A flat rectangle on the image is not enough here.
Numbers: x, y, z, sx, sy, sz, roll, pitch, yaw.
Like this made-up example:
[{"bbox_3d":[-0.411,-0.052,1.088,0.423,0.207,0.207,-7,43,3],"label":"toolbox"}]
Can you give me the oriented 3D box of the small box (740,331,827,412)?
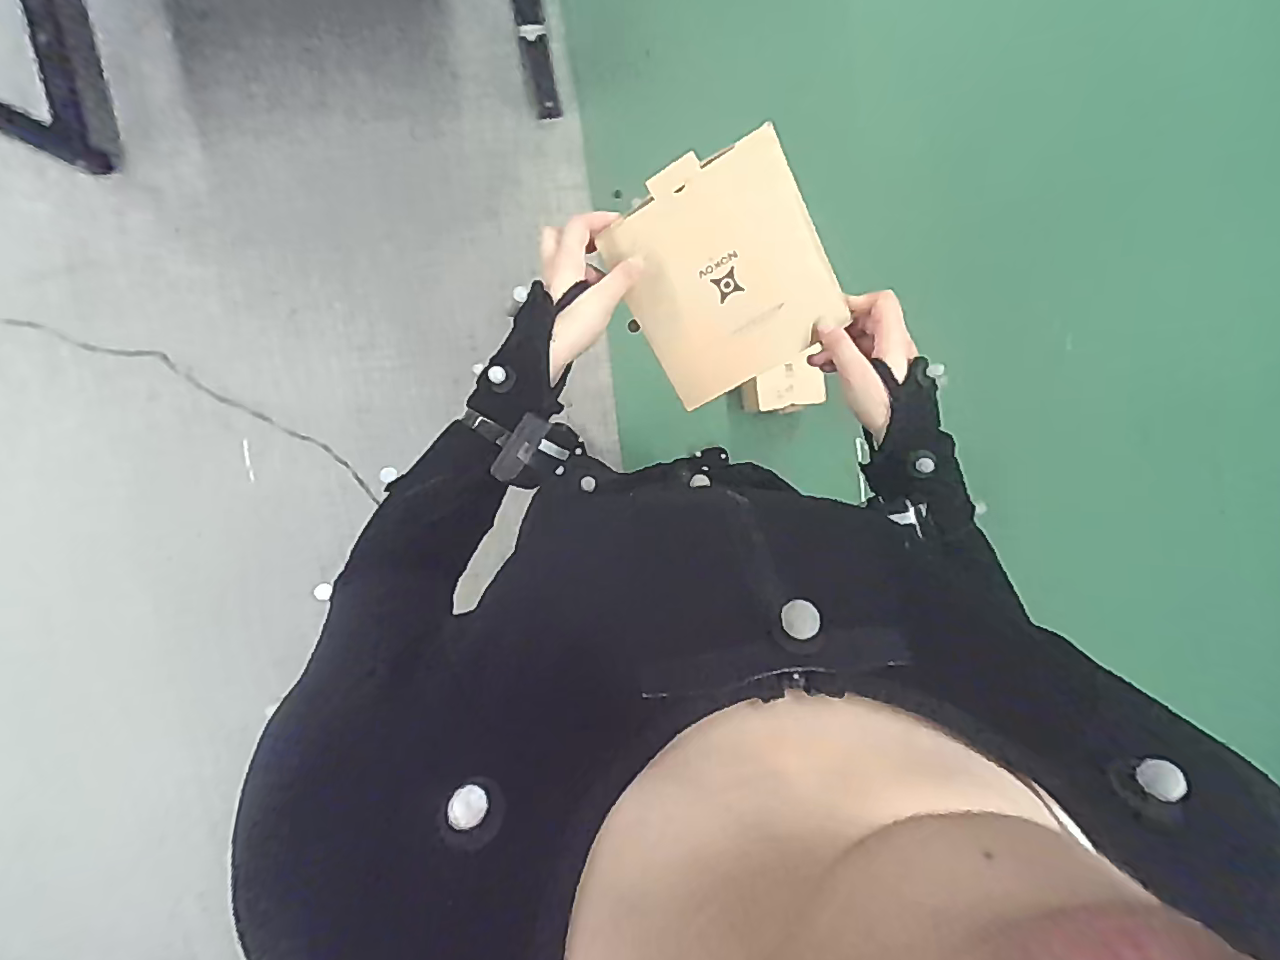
[{"bbox_3d":[0.359,-0.270,1.376,0.168,0.176,0.179,-8,97,-1],"label":"small box"}]
